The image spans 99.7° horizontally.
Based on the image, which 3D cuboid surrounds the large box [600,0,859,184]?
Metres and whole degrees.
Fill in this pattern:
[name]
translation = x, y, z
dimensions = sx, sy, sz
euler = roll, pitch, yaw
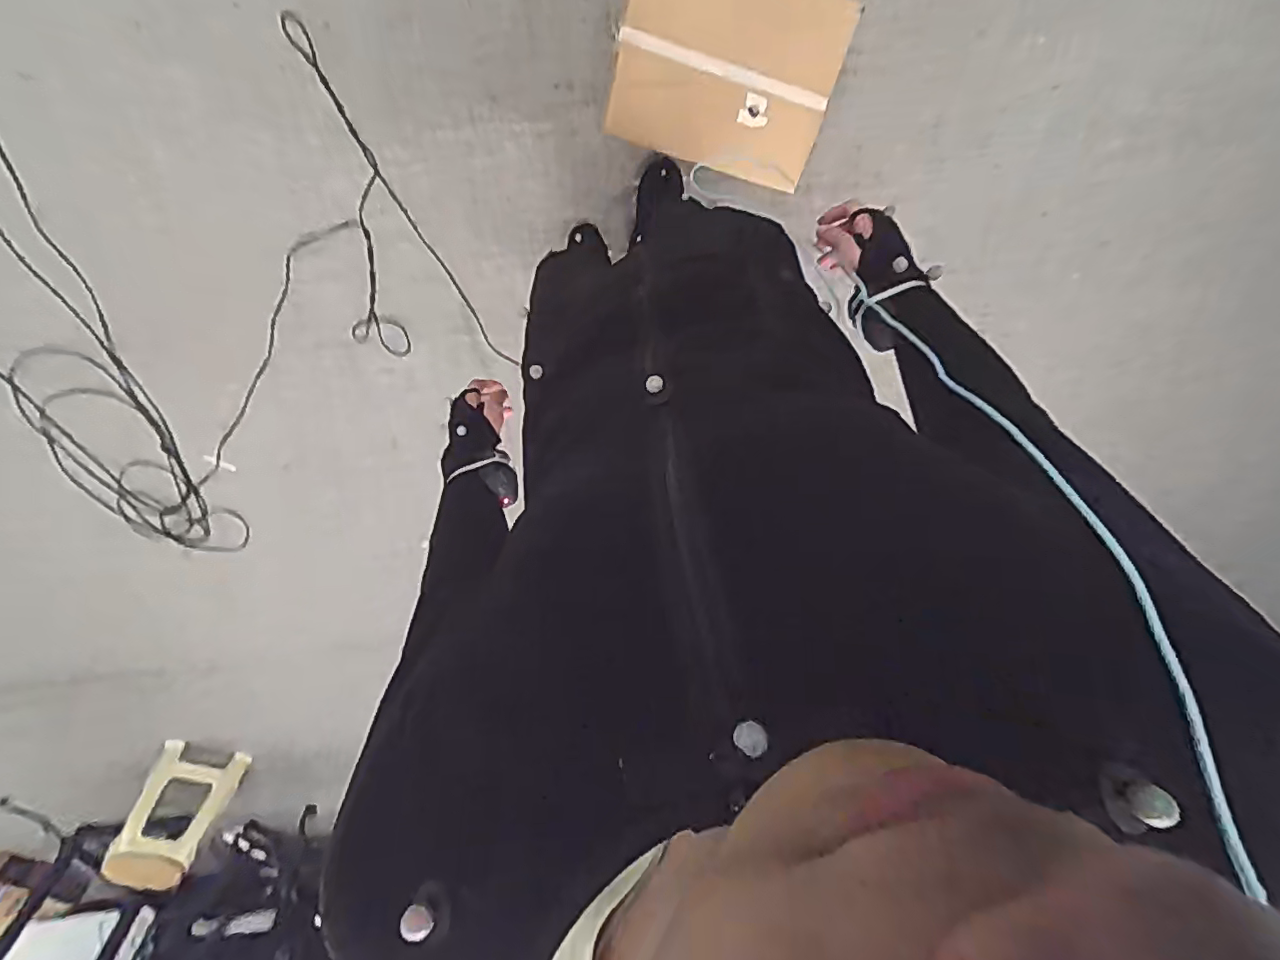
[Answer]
[large box]
translation = 0.145, -0.842, 1.109
dimensions = 0.408, 0.320, 0.320
euler = 10, 123, -13
